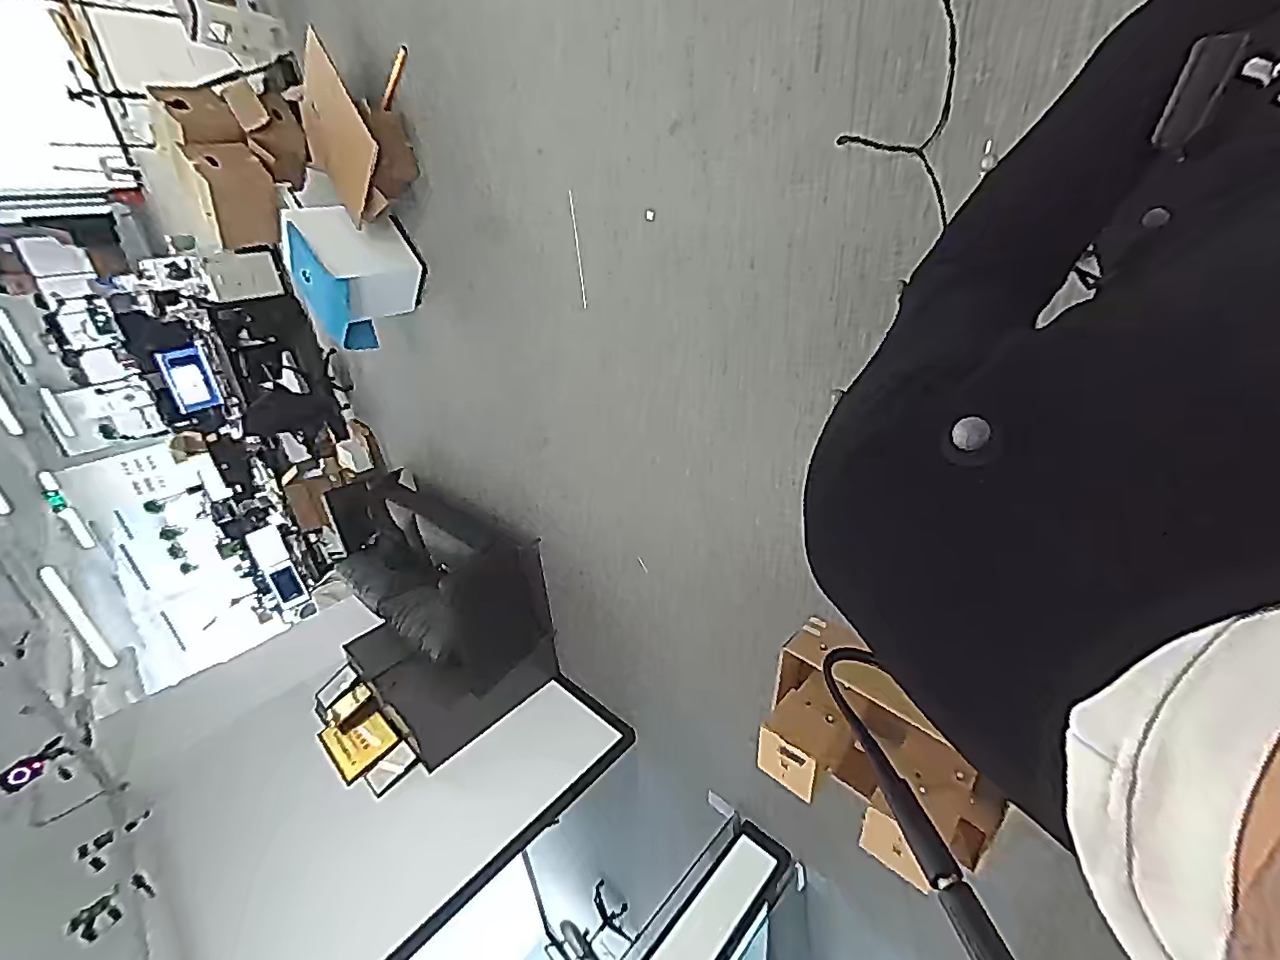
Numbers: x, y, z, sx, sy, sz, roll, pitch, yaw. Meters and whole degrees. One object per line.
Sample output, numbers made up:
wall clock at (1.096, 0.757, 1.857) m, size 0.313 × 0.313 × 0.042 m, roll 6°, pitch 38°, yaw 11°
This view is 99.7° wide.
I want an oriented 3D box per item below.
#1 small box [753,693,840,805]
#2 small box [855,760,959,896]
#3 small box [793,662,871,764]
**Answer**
small box at (0.430, 0.727, 1.481) m, size 0.168 × 0.176 × 0.179 m, roll 22°, pitch 126°, yaw 40°
small box at (0.643, 0.828, 1.301) m, size 0.168 × 0.176 × 0.179 m, roll 22°, pitch 126°, yaw 38°
small box at (0.550, 0.677, 1.582) m, size 0.168 × 0.176 × 0.179 m, roll 27°, pitch 128°, yaw 37°
